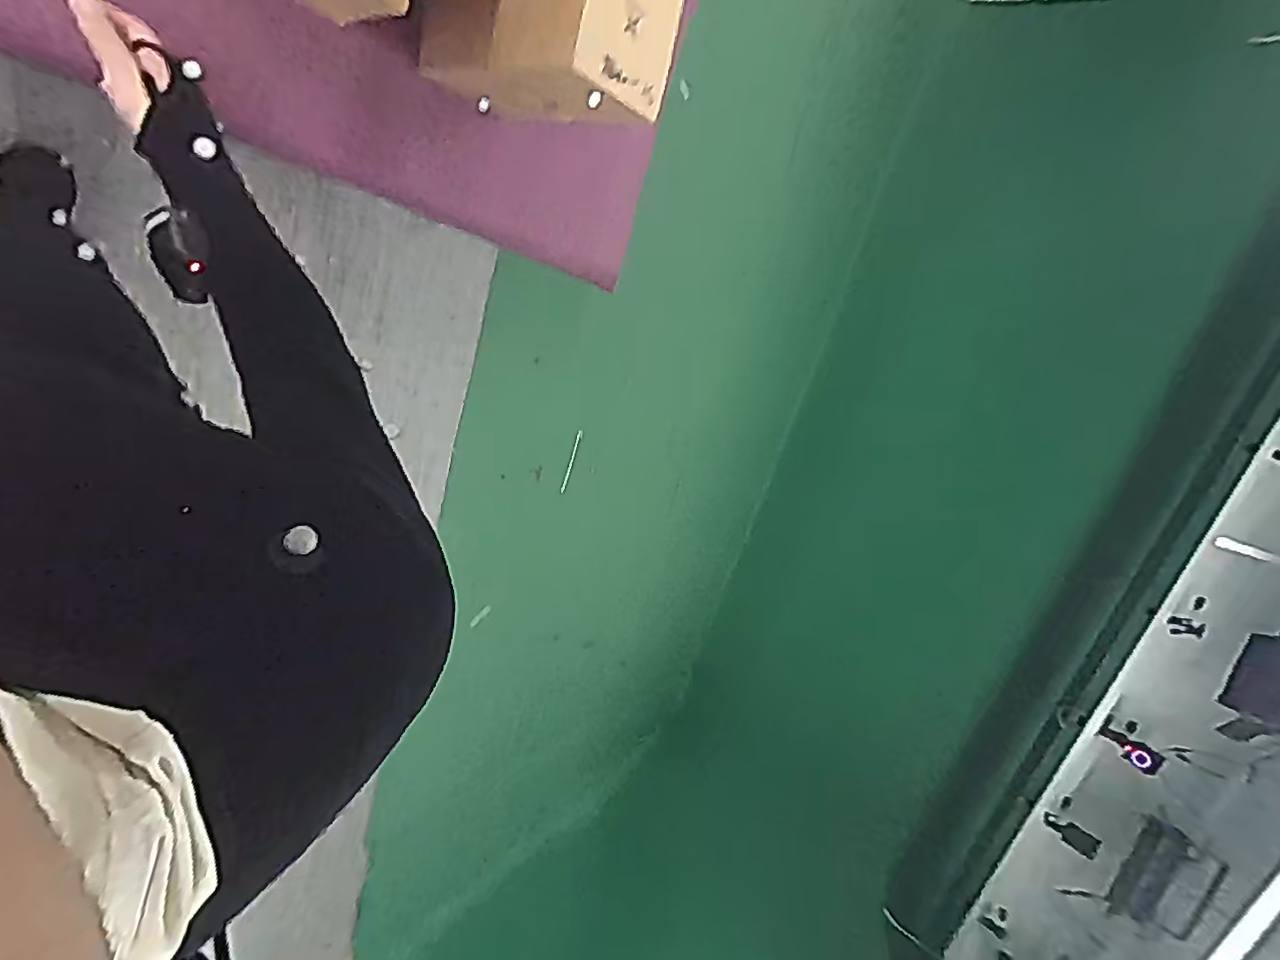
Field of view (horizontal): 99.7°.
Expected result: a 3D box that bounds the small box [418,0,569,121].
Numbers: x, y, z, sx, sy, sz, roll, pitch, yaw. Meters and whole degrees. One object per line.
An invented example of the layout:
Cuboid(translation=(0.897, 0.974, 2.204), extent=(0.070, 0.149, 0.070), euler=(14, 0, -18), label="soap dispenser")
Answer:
Cuboid(translation=(-0.198, -0.653, 0.783), extent=(0.168, 0.176, 0.179), euler=(-9, 120, -53), label="small box")

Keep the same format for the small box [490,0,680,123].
Cuboid(translation=(-0.072, -0.592, 0.697), extent=(0.168, 0.176, 0.179), euler=(-10, 120, -52), label="small box")

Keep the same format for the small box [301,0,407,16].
Cuboid(translation=(-0.355, -0.639, 0.569), extent=(0.168, 0.176, 0.179), euler=(-8, 120, -54), label="small box")
